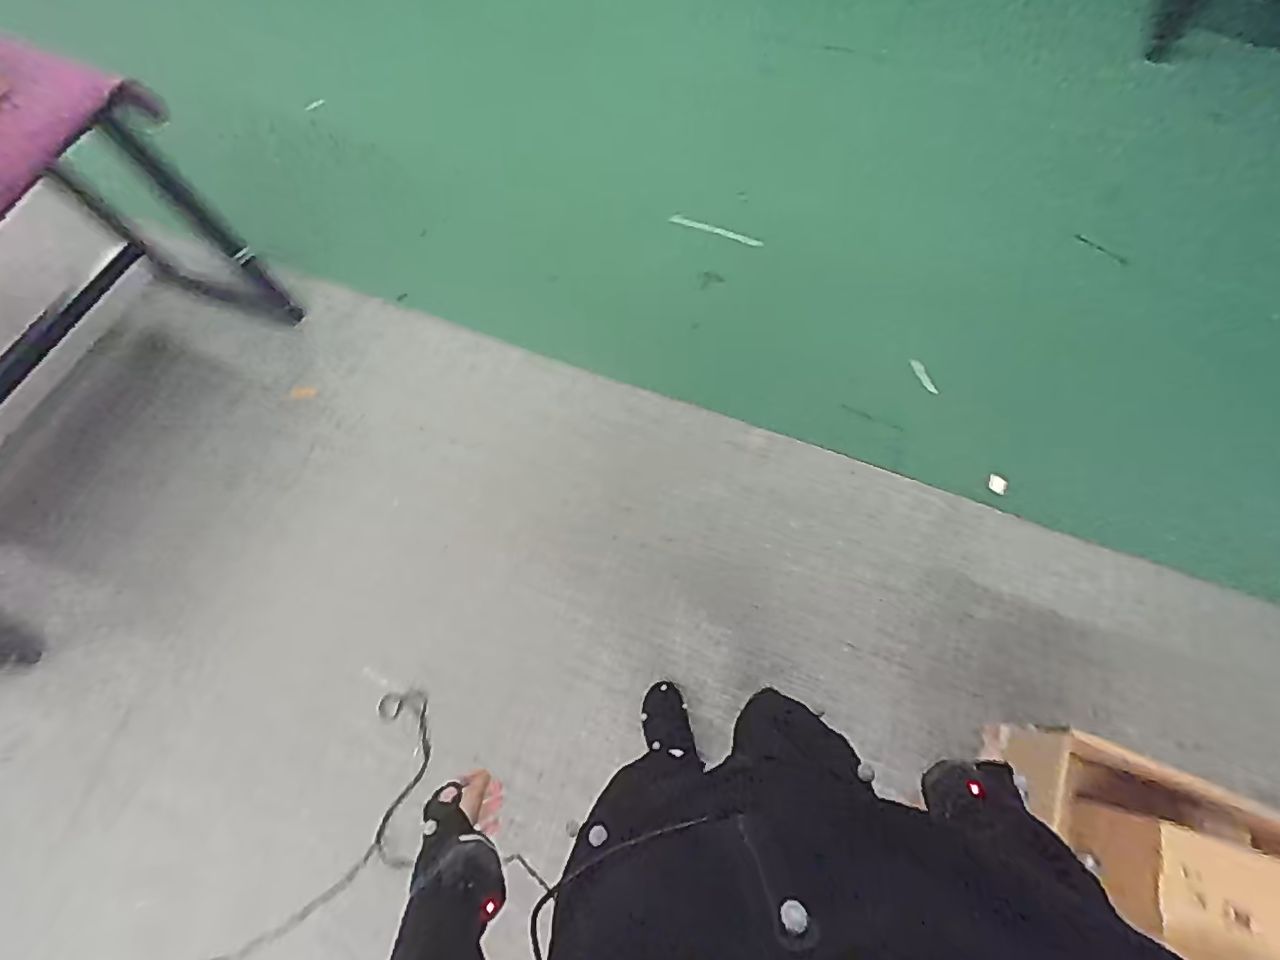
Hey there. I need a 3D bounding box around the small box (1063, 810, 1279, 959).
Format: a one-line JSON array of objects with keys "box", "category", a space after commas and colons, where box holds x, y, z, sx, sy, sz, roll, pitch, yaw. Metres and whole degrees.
[{"box": [0.747, 0.592, 0.757, 0.179, 0.176, 0.168, 18, 70, 7], "category": "small box"}]
